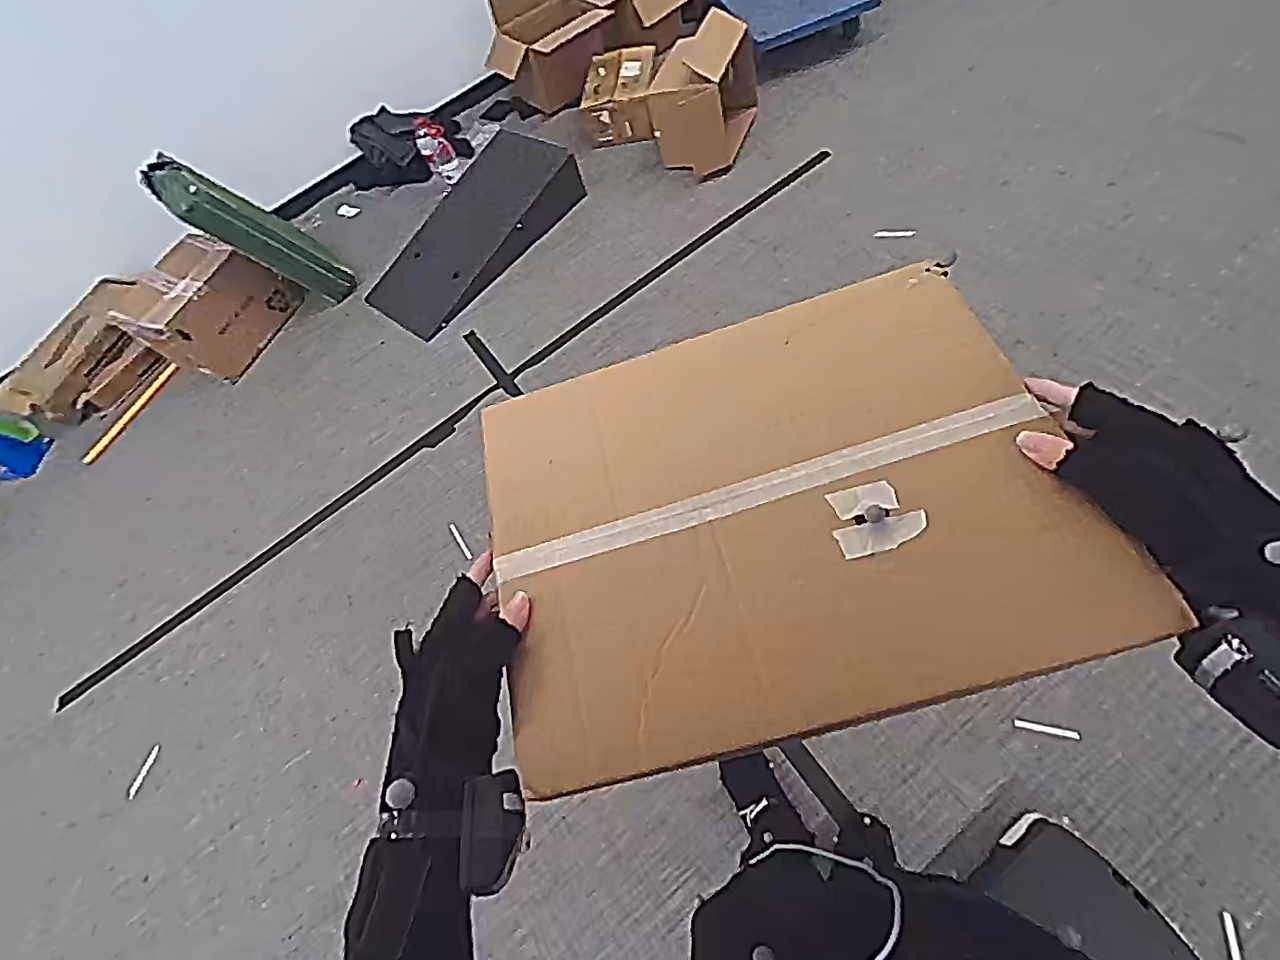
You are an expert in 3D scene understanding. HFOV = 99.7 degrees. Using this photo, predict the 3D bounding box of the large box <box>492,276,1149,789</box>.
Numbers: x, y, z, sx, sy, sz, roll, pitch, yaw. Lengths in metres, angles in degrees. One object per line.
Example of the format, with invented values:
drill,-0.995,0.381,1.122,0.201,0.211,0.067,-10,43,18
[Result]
large box,0.116,0.078,0.539,0.408,0.320,0.320,-18,62,4
